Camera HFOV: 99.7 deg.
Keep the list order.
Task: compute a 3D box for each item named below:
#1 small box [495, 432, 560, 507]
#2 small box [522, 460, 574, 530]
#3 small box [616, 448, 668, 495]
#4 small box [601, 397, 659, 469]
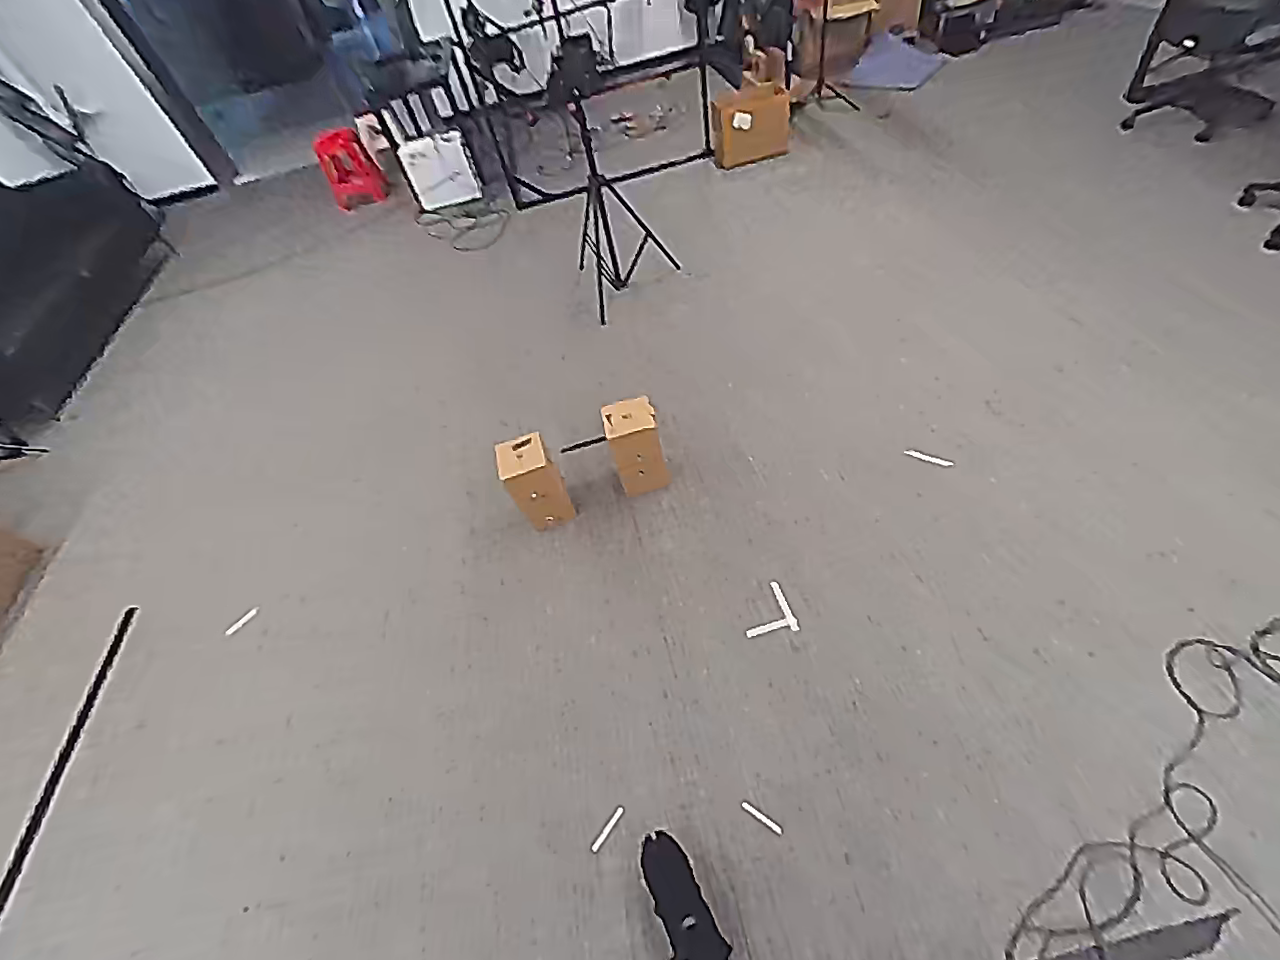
[{"bbox_3d":[-0.398,-0.035,1.920,0.168,0.176,0.179,-20,51,-2],"label":"small box"},{"bbox_3d":[-0.362,0.059,2.049,0.168,0.176,0.179,-21,51,-3],"label":"small box"},{"bbox_3d":[-0.002,-0.064,2.063,0.179,0.176,0.168,-15,51,0],"label":"small box"},{"bbox_3d":[-0.031,-0.166,1.937,0.179,0.176,0.168,-14,50,1],"label":"small box"}]
